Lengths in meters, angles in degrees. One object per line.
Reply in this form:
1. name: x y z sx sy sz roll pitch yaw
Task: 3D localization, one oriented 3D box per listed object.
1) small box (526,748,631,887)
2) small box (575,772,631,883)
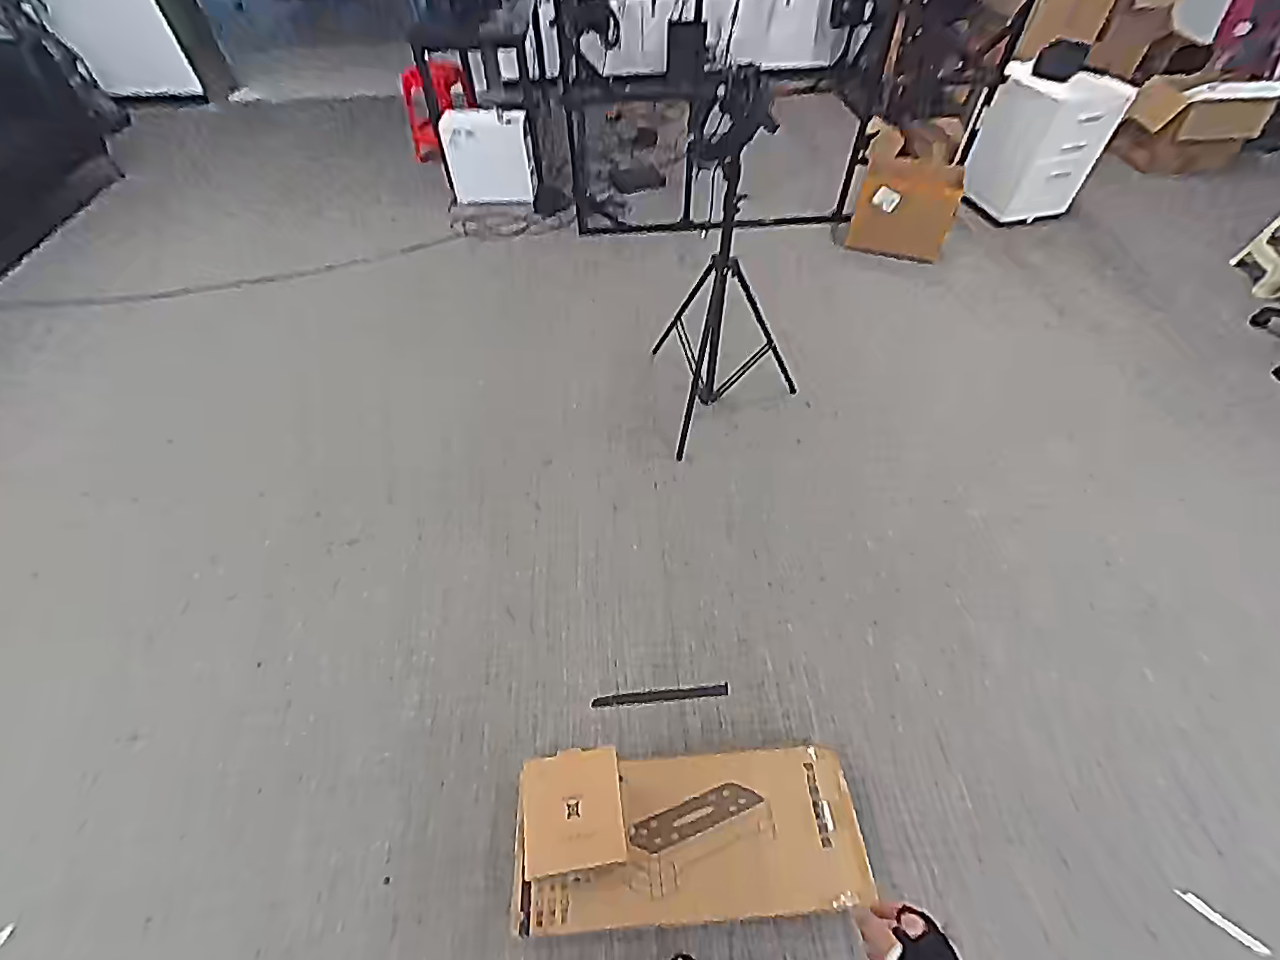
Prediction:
1. small box: -0.109 0.605 0.967 0.168 0.176 0.179 -8 52 -5
2. small box: -0.103 0.707 1.094 0.168 0.176 0.179 -2 52 -2
